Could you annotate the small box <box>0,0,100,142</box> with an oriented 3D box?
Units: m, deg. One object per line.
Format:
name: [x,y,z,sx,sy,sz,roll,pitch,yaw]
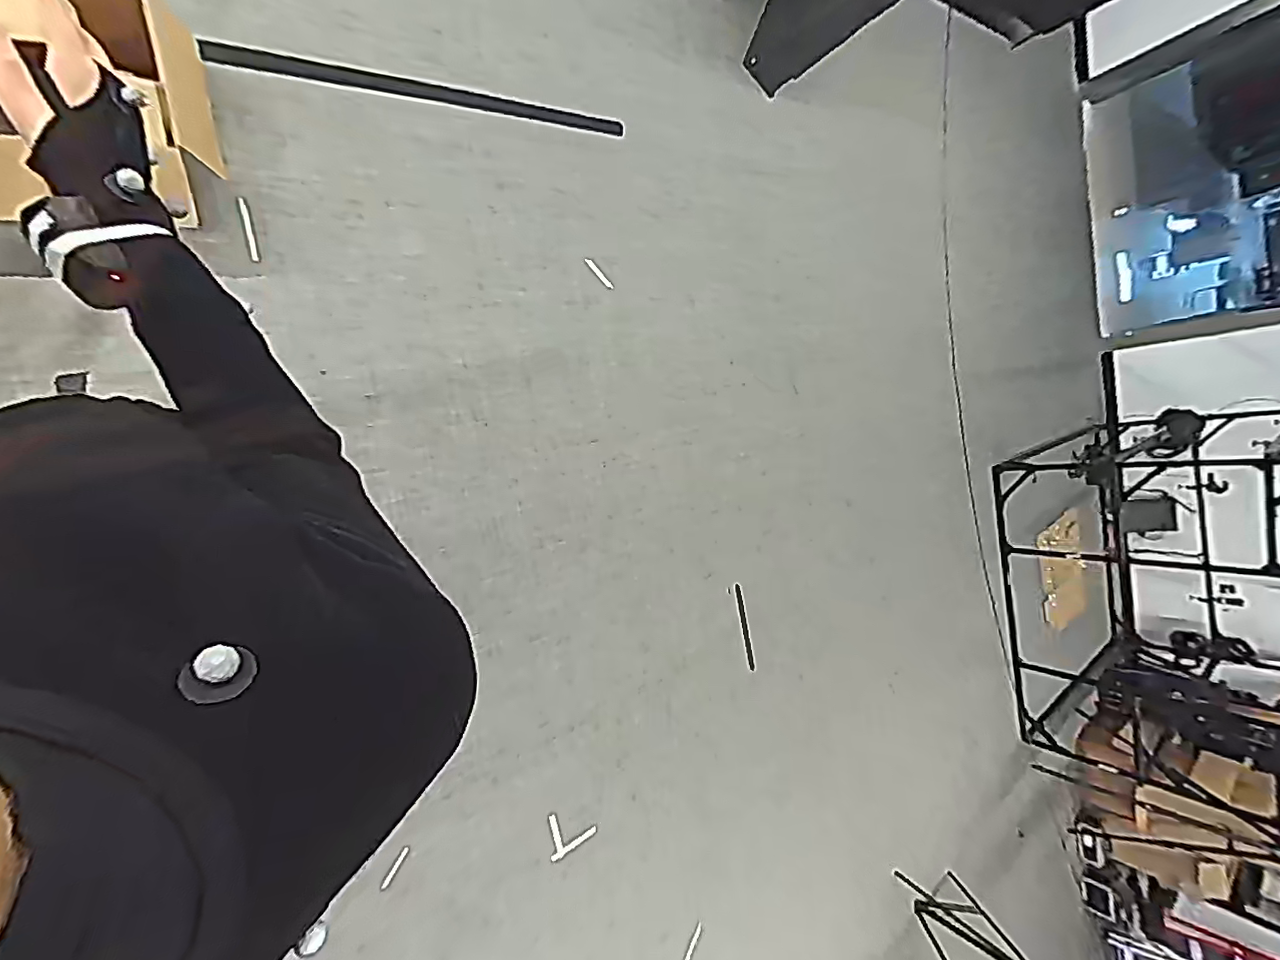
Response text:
small box: [-0.555,-0.387,0.401,0.168,0.176,0.179,-18,105,-33]
